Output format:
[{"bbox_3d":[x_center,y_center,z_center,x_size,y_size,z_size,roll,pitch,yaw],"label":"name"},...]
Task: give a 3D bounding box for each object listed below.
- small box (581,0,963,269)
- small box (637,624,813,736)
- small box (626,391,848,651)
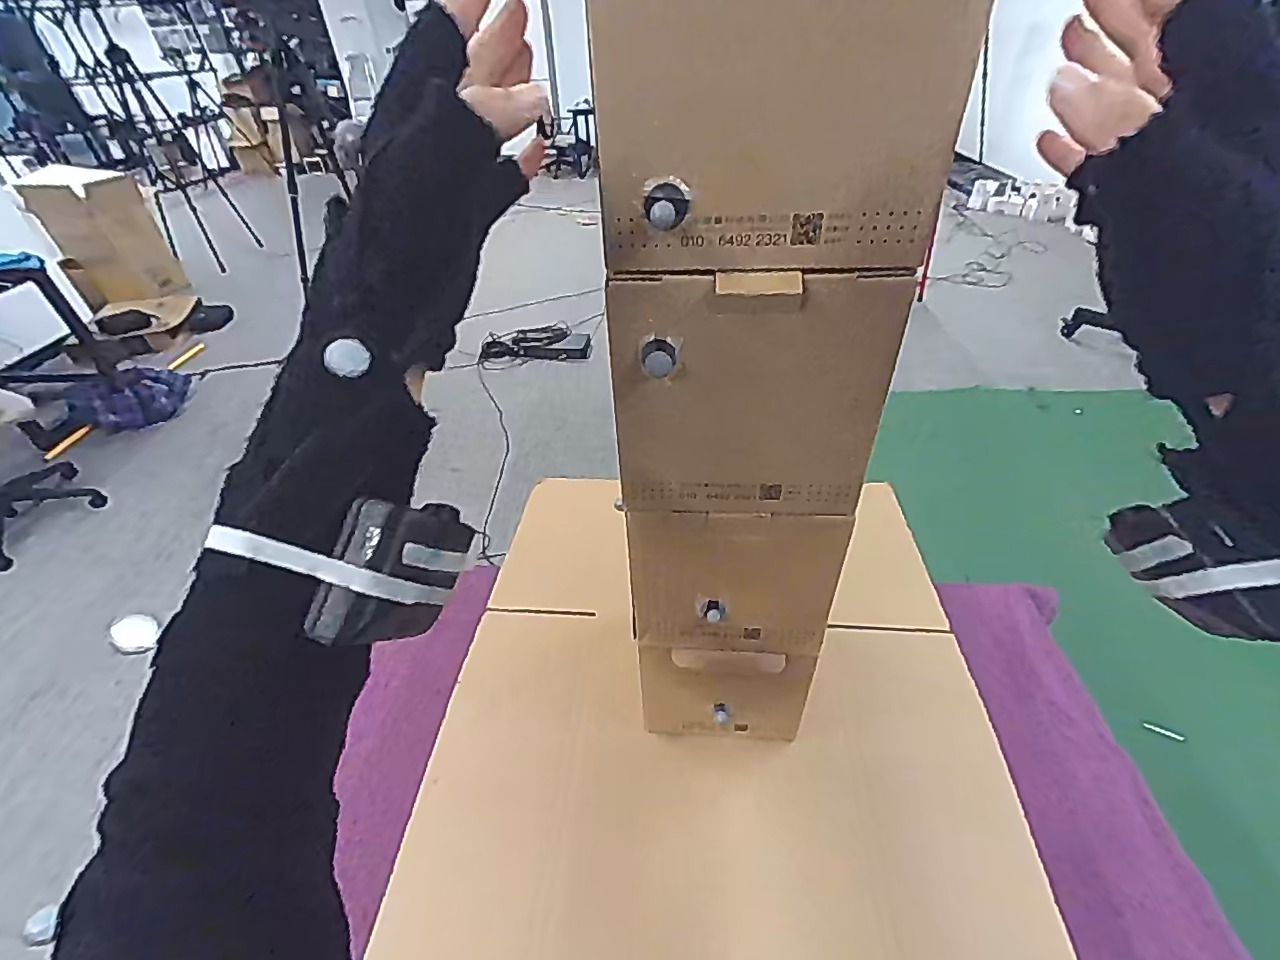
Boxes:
[{"bbox_3d":[0.065,-0.227,0.307,0.168,0.176,0.179,2,37,6],"label":"small box"},{"bbox_3d":[0.088,0.160,0.612,0.168,0.176,0.179,1,39,6],"label":"small box"},{"bbox_3d":[0.080,0.033,0.509,0.168,0.176,0.179,2,39,6],"label":"small box"}]
